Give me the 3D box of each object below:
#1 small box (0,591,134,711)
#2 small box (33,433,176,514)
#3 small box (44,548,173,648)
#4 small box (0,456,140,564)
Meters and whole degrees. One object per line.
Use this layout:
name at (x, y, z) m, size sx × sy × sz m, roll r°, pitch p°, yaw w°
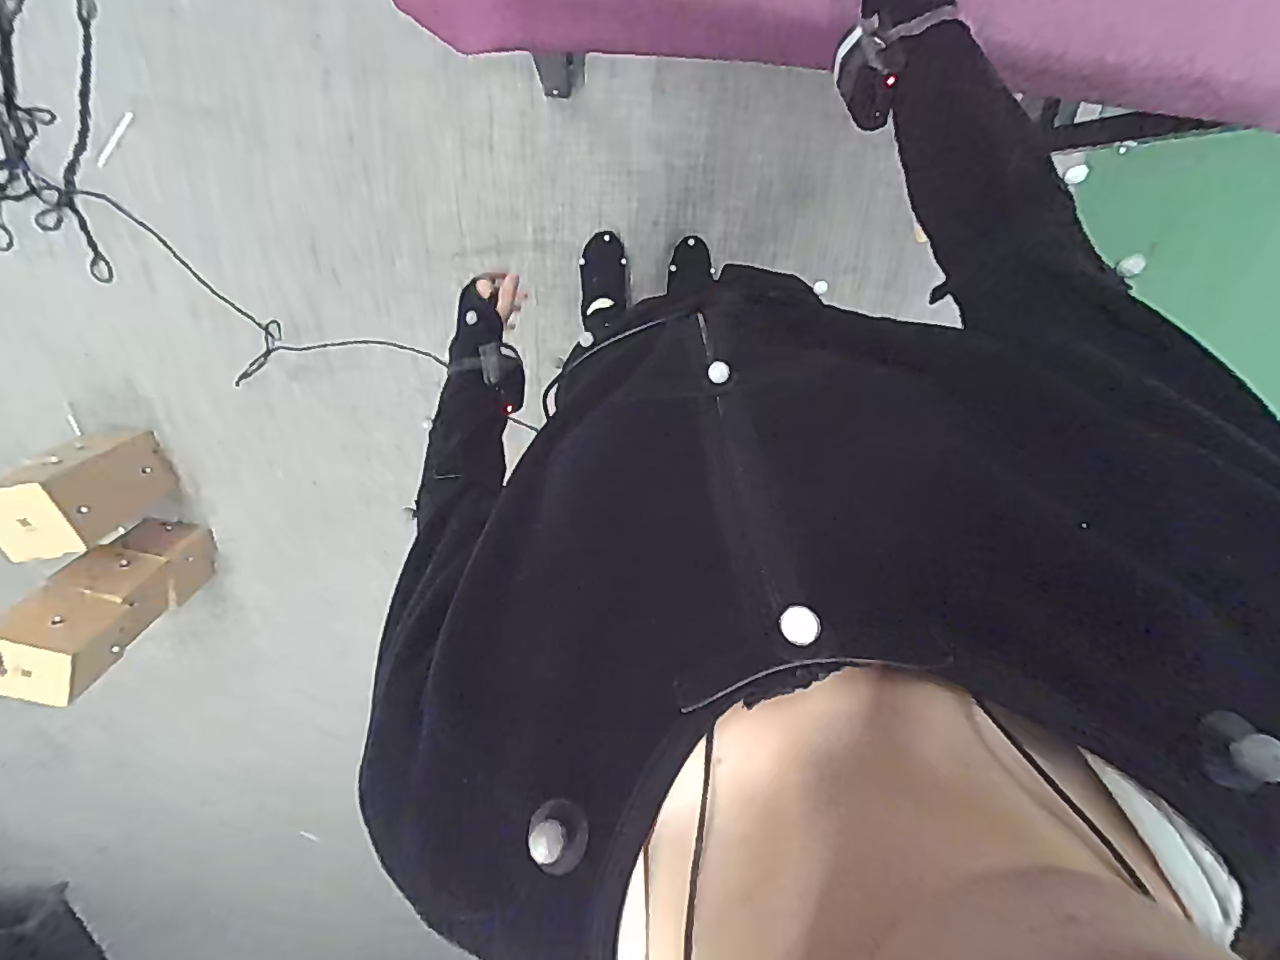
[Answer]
small box at (-1.293, 0.371, 1.200) m, size 0.179 × 0.176 × 0.168 m, roll 22°, pitch 111°, yaw -15°
small box at (-1.340, -0.012, 1.375) m, size 0.179 × 0.176 × 0.168 m, roll -5°, pitch 116°, yaw -2°
small box at (-1.314, 0.300, 1.347) m, size 0.168 × 0.176 × 0.179 m, roll 17°, pitch 112°, yaw -12°
small box at (-1.314, 0.064, 1.232) m, size 0.168 × 0.176 × 0.179 m, roll -10°, pitch 116°, yaw -1°
